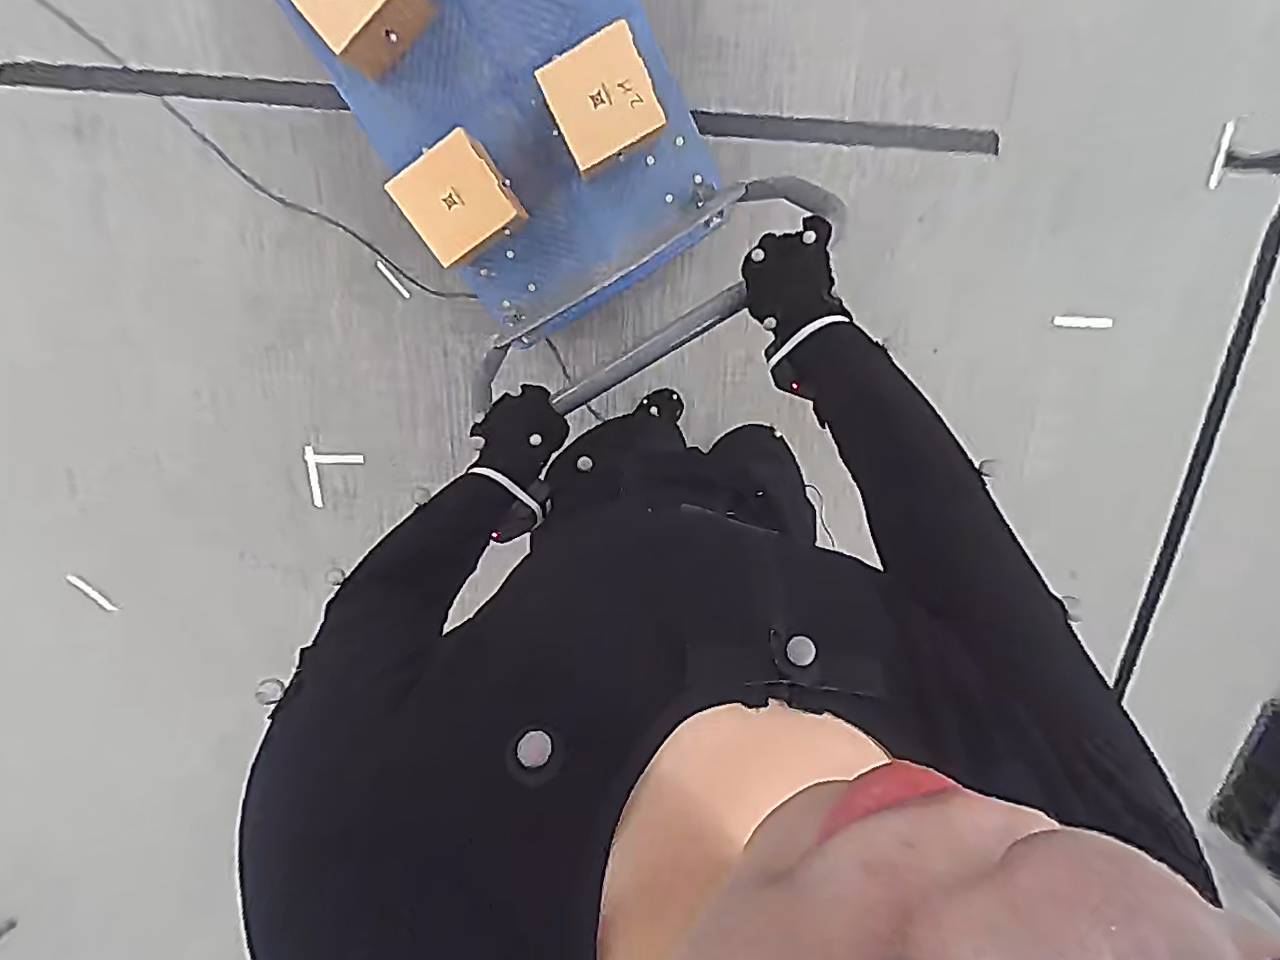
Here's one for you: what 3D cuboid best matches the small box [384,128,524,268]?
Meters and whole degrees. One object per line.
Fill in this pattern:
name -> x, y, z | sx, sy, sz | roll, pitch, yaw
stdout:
small box -> -0.346, -0.532, 1.046 | 0.179, 0.176, 0.168 | -33, 112, 9

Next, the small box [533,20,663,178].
small box -> -0.073, -0.685, 1.000 | 0.179, 0.176, 0.168 | -26, 113, 7
